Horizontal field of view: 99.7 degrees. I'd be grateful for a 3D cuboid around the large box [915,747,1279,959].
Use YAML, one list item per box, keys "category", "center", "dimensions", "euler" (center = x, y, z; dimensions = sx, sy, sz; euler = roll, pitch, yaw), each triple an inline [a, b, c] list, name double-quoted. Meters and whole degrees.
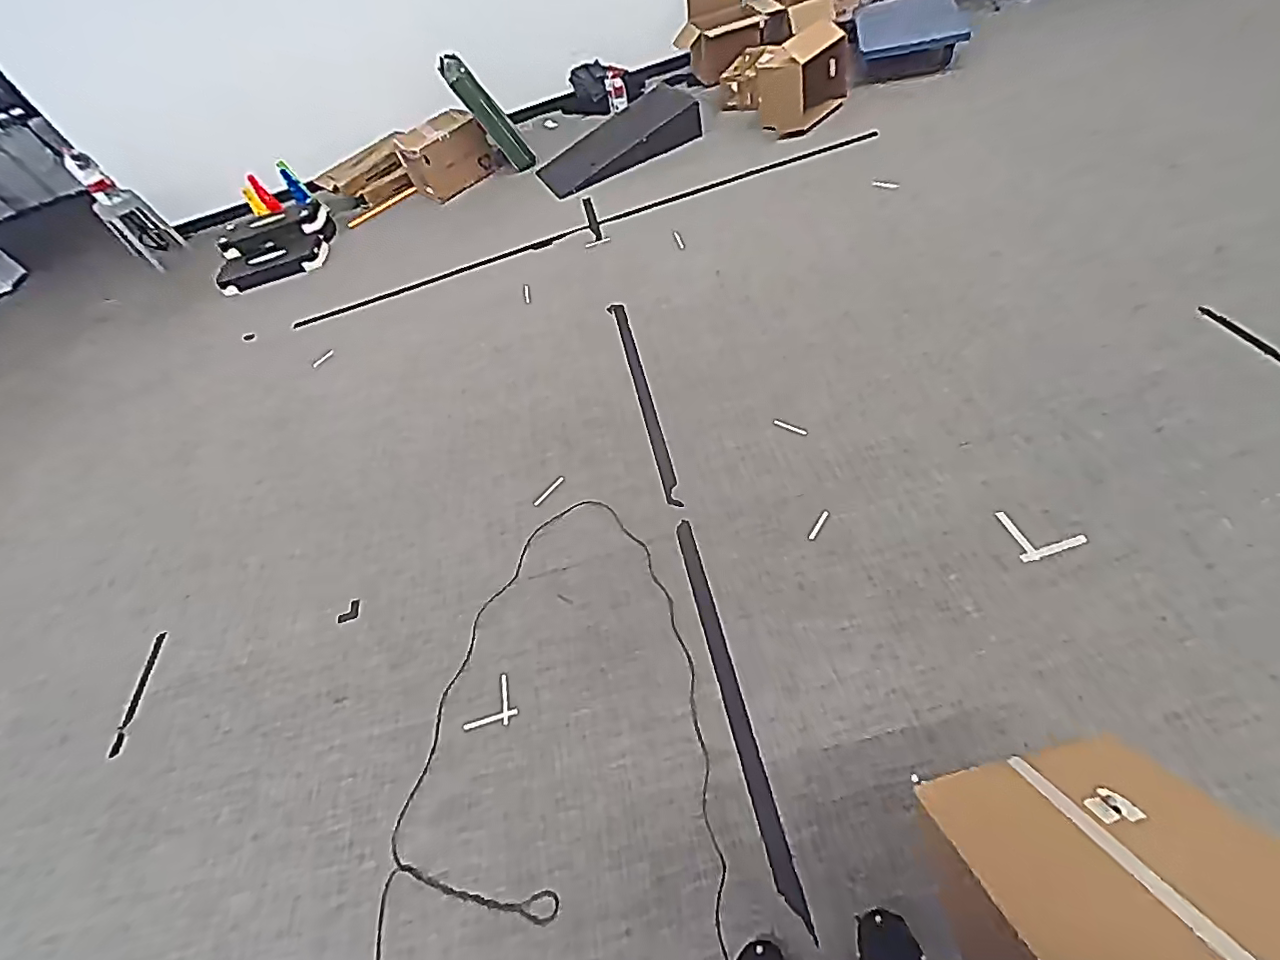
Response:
- category: "large box"
  center: [0.607, 0.599, 0.638]
  dimensions: [0.320, 0.408, 0.320]
  euler: [-15, 92, 2]
